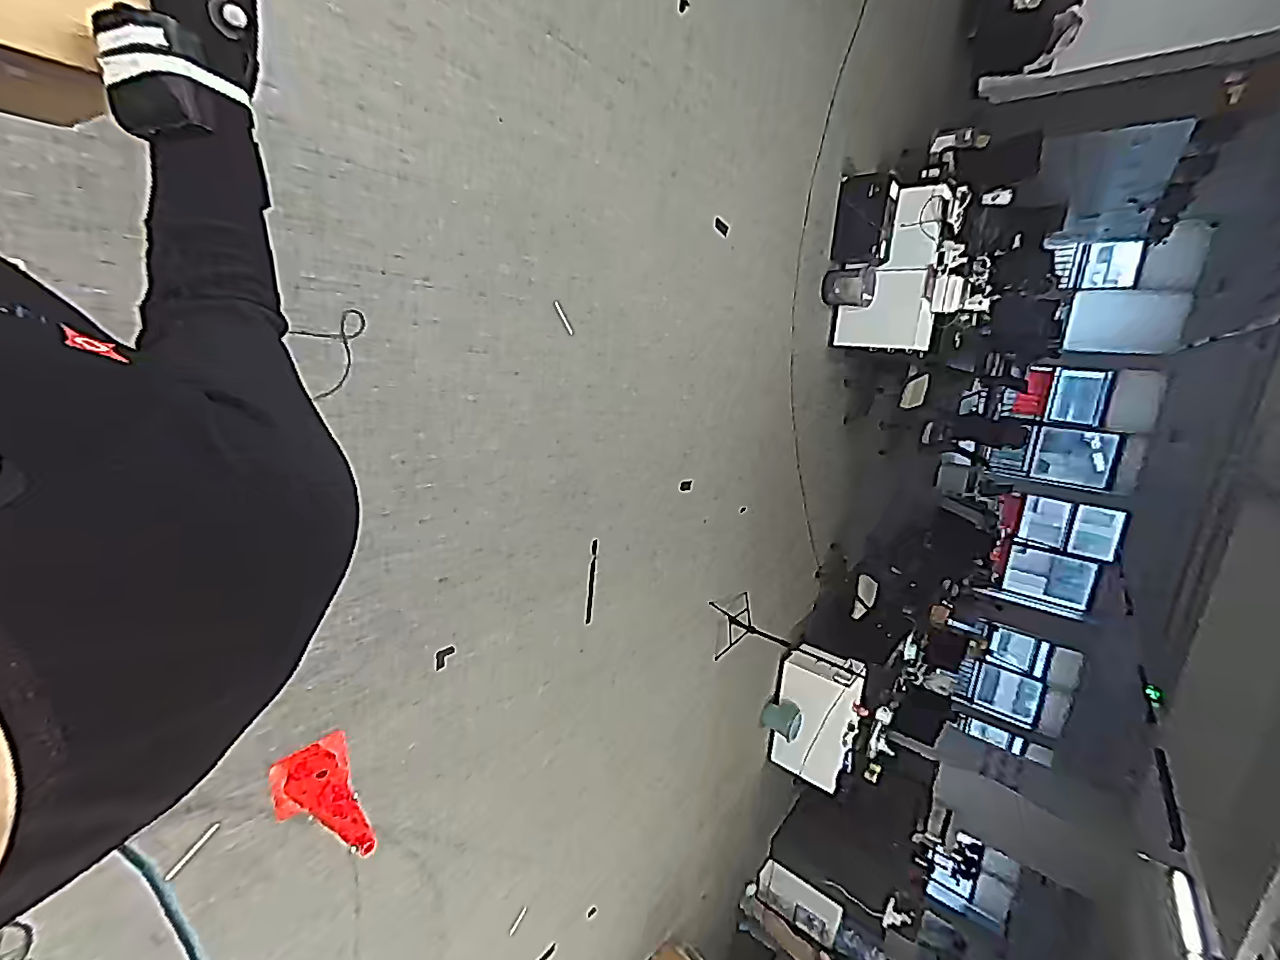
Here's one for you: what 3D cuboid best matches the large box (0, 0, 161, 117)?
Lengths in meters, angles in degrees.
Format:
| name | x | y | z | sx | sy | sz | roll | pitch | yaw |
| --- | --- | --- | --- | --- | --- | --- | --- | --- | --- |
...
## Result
| name | x | y | z | sx | sy | sz | roll | pitch | yaw |
| --- | --- | --- | --- | --- | --- | --- | --- | --- | --- |
| large box | -0.563 | -0.433 | 0.267 | 0.408 | 0.320 | 0.320 | -16 | 120 | -53 |

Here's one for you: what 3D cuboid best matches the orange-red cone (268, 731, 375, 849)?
| name | x | y | z | sx | sy | sz | roll | pitch | yaw |
| --- | --- | --- | --- | --- | --- | --- | --- | --- | --- |
| orange-red cone | -0.829 | 0.885 | 1.471 | 0.198 | 0.360 | 0.199 | -16 | 113 | -50 |
